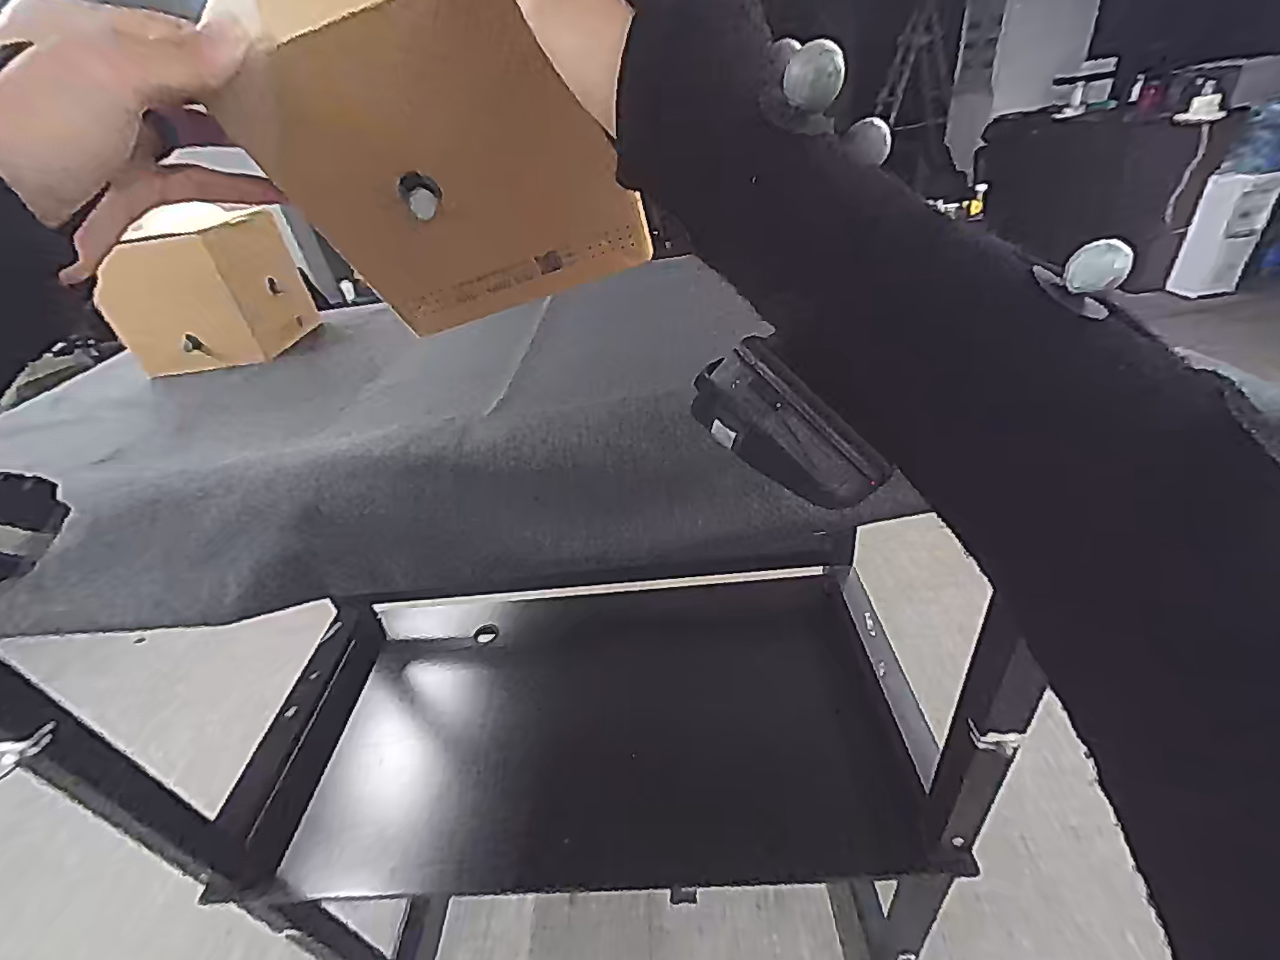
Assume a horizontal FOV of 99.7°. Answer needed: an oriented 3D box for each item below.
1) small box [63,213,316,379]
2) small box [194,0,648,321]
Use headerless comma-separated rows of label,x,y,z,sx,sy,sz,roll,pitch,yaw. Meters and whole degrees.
small box,-0.595,-0.255,0.749,0.179,0.176,0.168,-7,35,2
small box,-0.102,-0.219,0.319,0.168,0.176,0.179,-16,62,7
